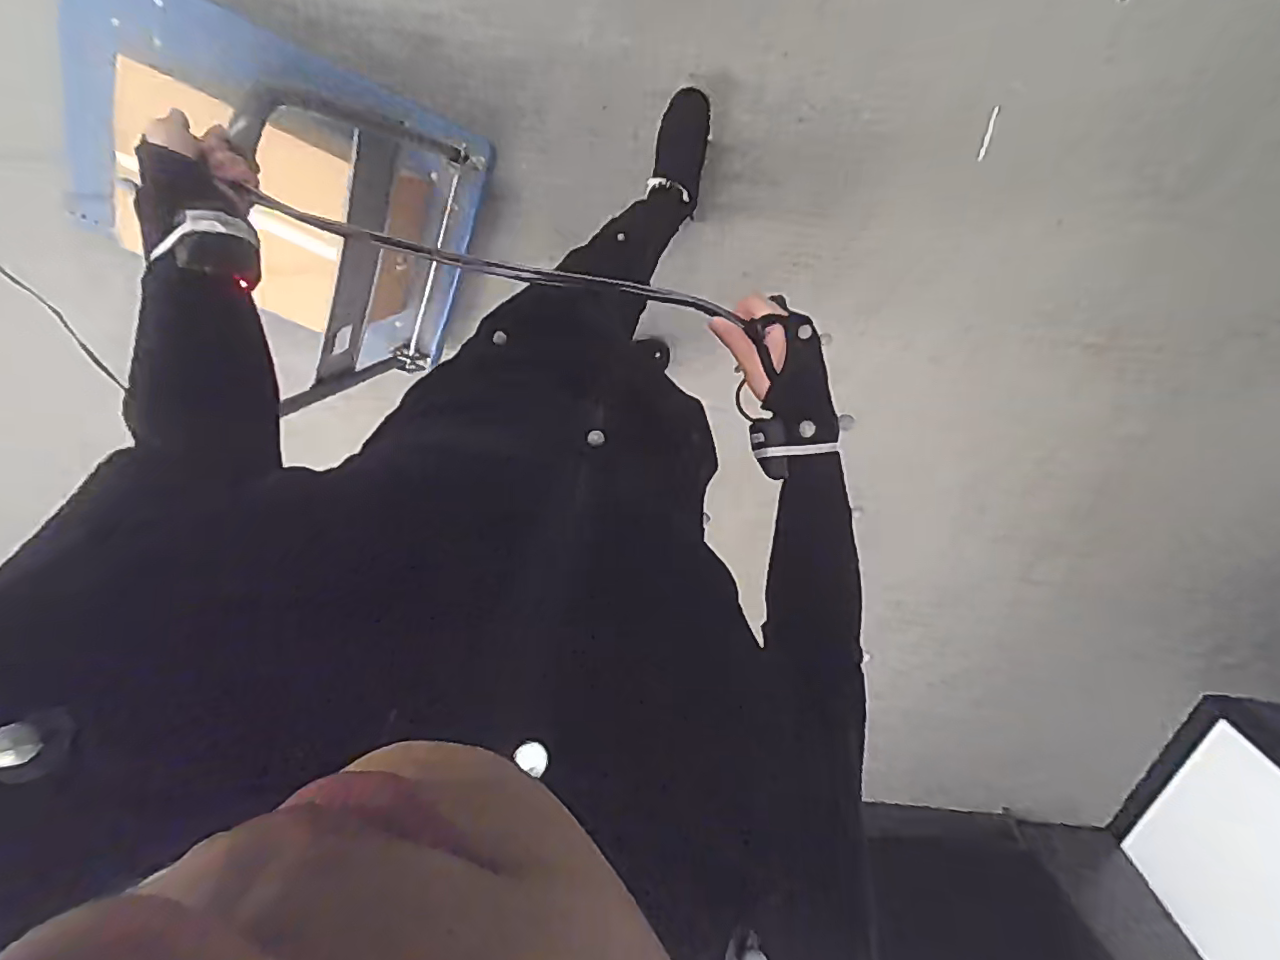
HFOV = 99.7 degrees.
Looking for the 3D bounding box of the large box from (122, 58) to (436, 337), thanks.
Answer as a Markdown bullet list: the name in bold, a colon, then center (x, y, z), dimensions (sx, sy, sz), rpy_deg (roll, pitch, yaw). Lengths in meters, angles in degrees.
- **large box**: center (-0.684, -0.537, 1.077), dimensions (0.408, 0.320, 0.320), rpy_deg (24, 115, -9)
